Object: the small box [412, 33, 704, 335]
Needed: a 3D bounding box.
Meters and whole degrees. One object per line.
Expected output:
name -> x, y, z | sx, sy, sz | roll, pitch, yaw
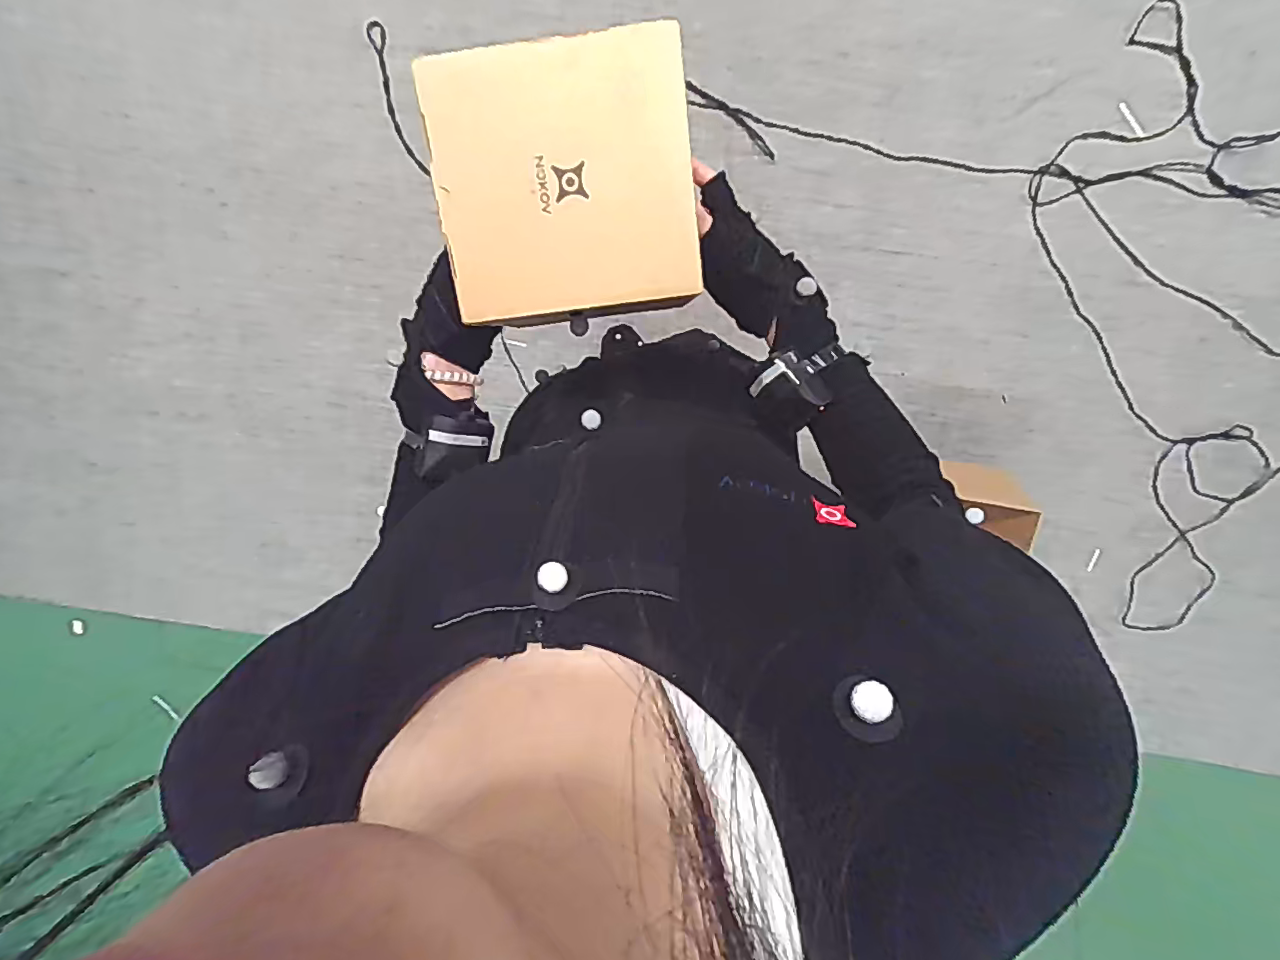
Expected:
small box -> -0.049, -0.213, 0.438 | 0.179, 0.176, 0.168 | -7, 105, 4
